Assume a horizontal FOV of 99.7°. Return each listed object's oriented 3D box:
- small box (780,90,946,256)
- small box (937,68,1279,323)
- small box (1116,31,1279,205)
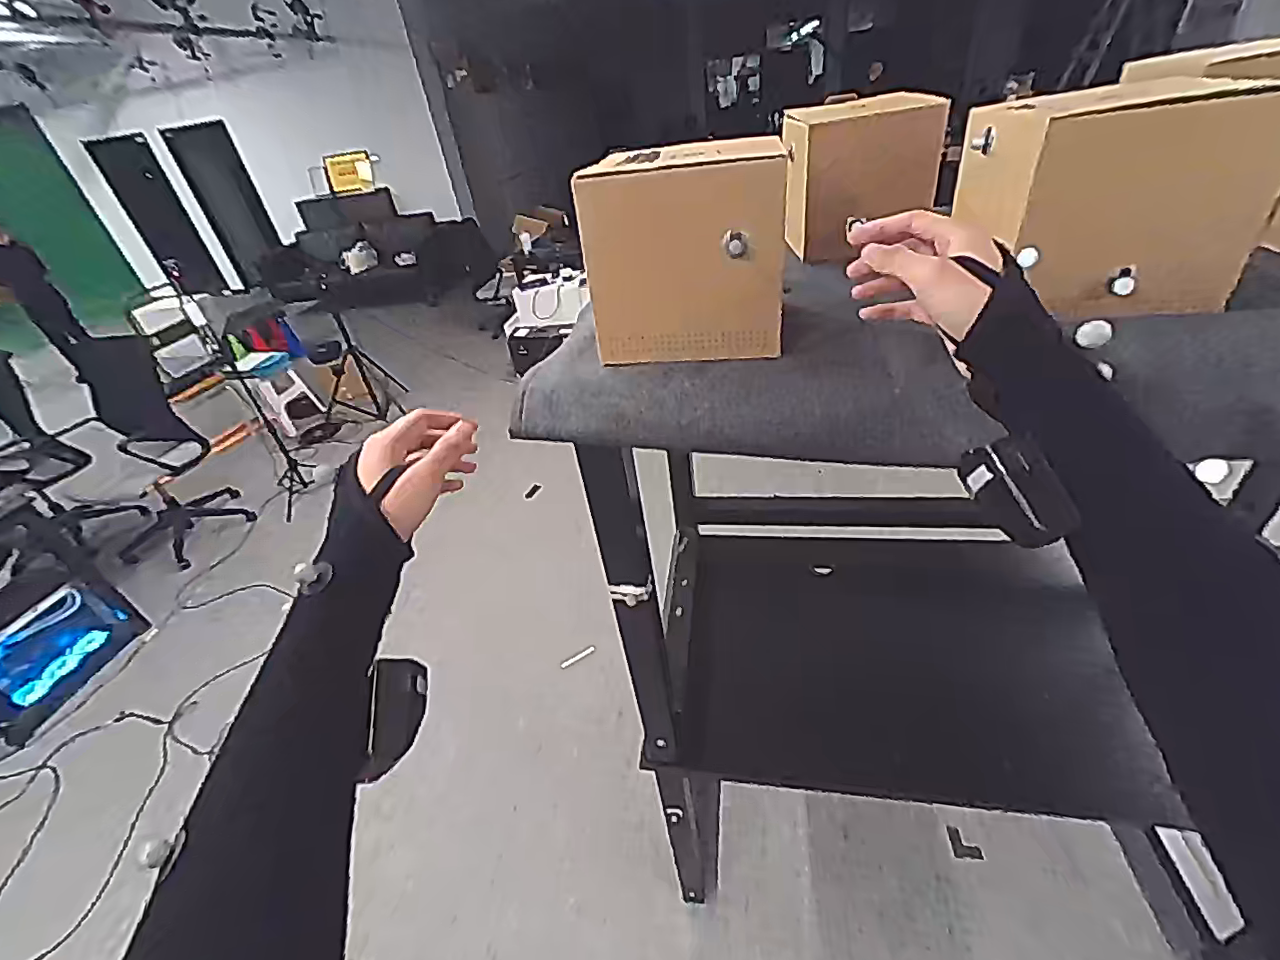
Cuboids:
[{"bbox_3d":[0.288,-0.421,0.746,0.168,0.176,0.179,-6,35,7],"label":"small box"},{"bbox_3d":[0.395,-0.250,0.481,0.179,0.176,0.168,-1,35,10],"label":"small box"},{"bbox_3d":[0.716,-0.444,0.676,0.179,0.176,0.168,-1,37,12],"label":"small box"}]
